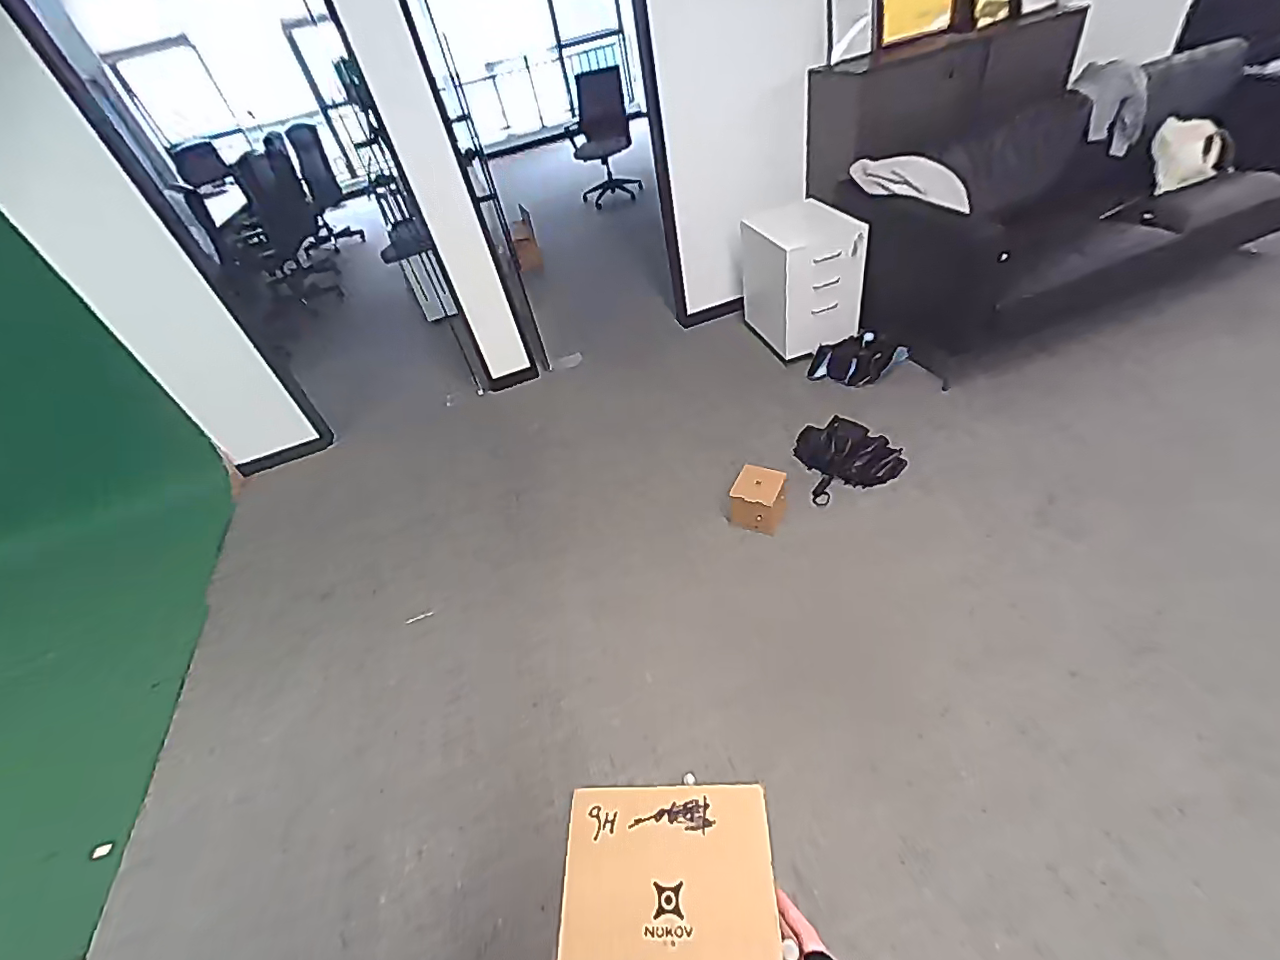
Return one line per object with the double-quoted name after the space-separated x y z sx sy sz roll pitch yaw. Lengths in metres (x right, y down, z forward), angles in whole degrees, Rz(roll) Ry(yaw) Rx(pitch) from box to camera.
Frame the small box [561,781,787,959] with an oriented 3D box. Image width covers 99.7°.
0.036 0.374 0.462 0.168 0.176 0.179 -4 47 7 "small box"
